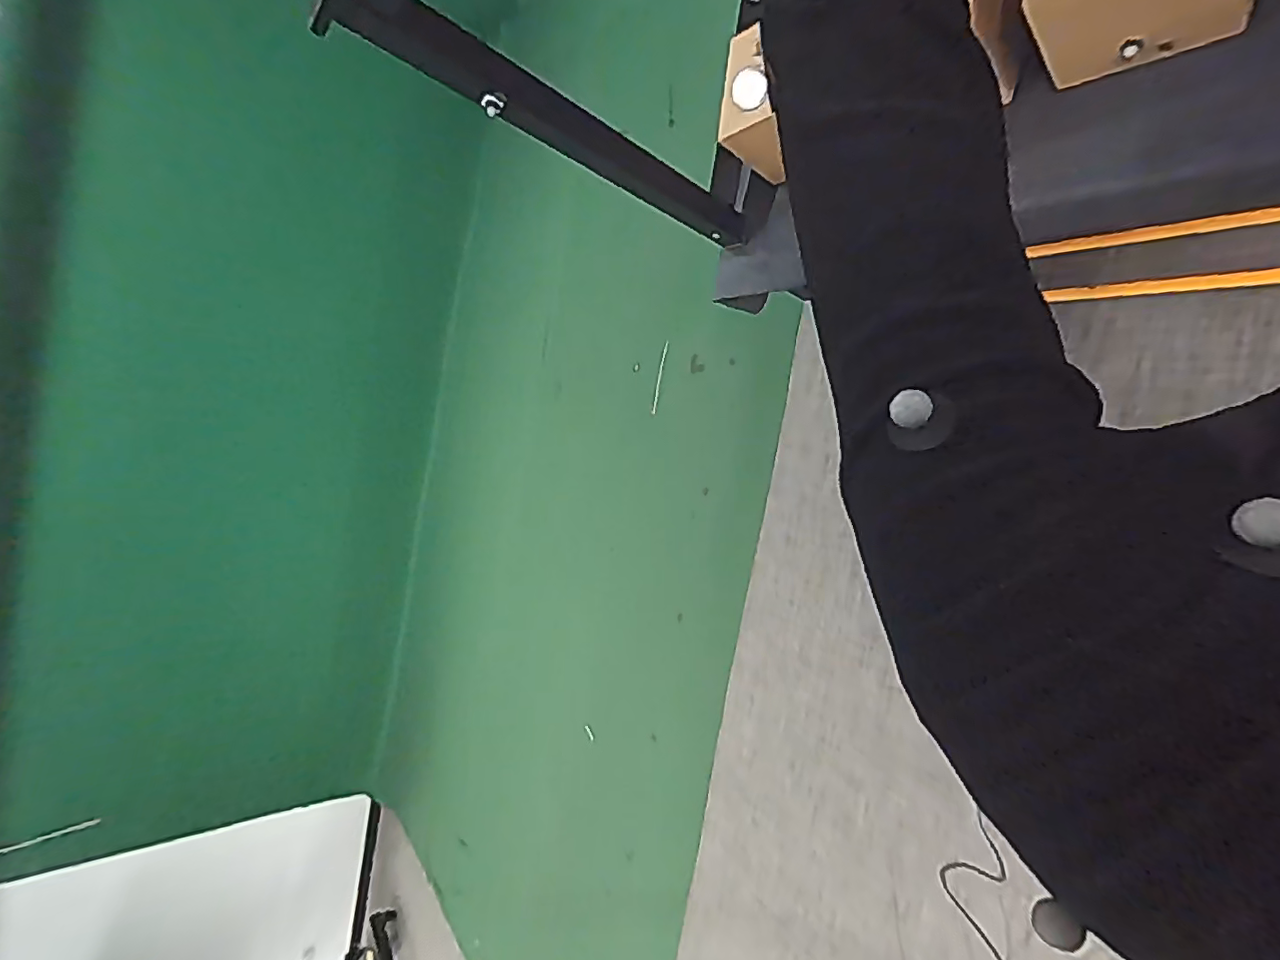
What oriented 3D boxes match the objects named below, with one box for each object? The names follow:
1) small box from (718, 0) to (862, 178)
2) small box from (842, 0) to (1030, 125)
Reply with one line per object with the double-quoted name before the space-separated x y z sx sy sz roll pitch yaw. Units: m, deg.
"small box" 0.257 -0.650 0.904 0.168 0.176 0.179 9 92 49
"small box" 0.405 -0.622 0.735 0.168 0.176 0.179 13 94 48
